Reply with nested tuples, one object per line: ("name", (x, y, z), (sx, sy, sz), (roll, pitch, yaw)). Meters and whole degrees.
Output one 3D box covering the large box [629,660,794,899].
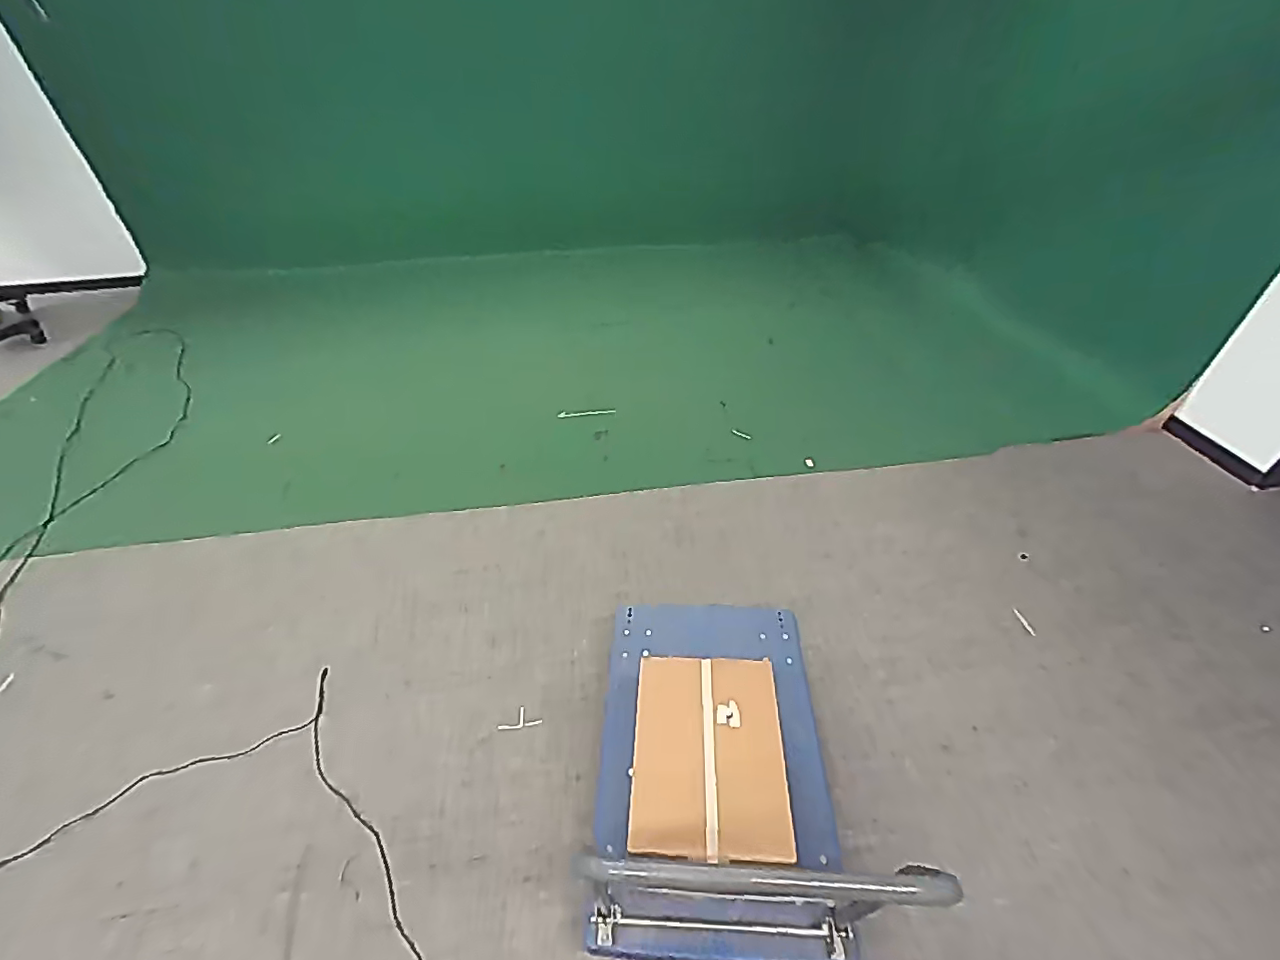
("large box", (0.147, 0.681, 1.246), (0.320, 0.320, 0.408), (1, 40, 3))
